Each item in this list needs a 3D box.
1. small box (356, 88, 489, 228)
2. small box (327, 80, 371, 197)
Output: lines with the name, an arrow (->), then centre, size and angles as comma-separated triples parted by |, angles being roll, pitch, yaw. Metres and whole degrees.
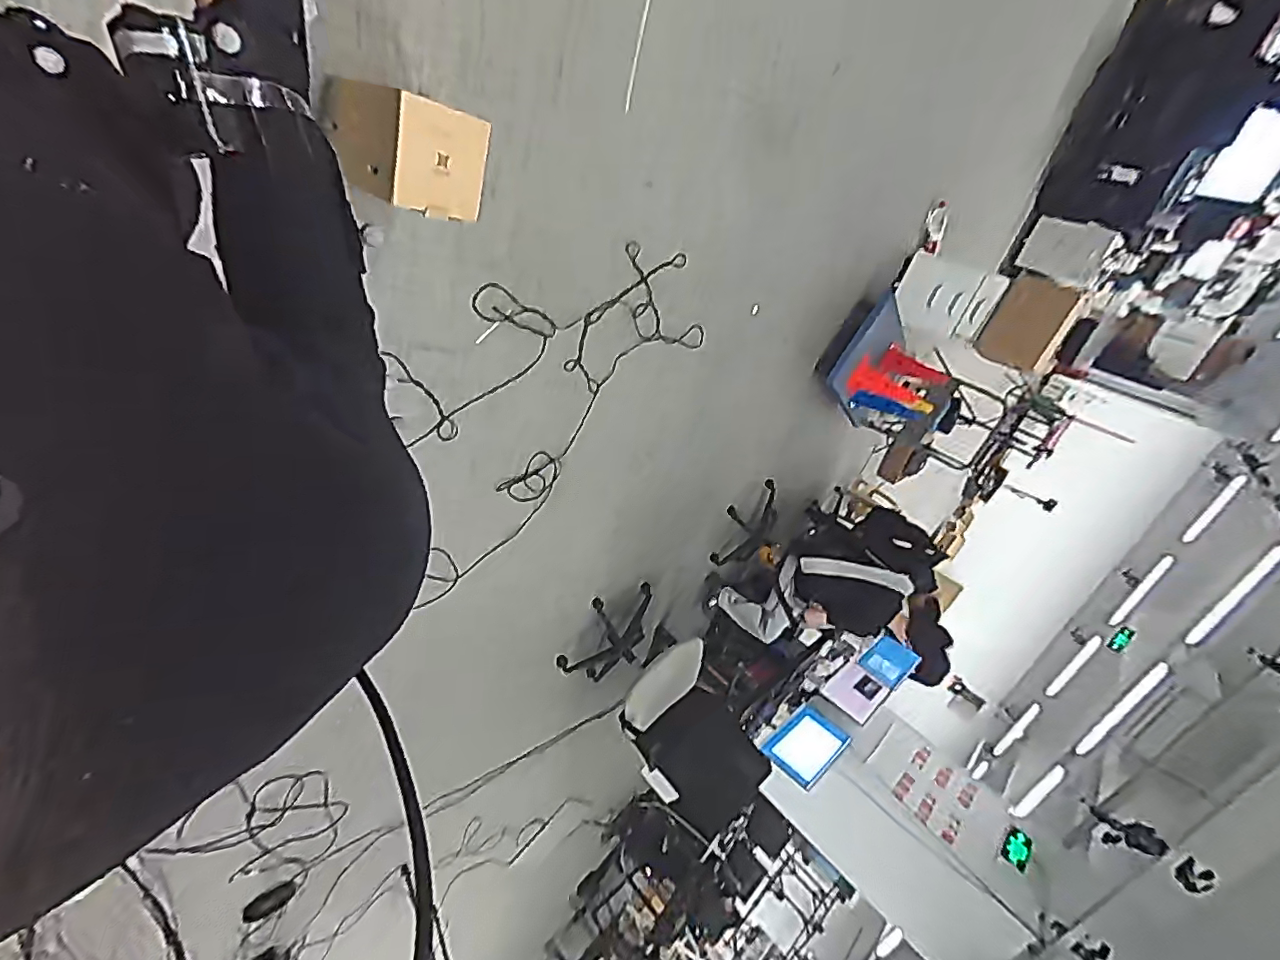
small box -> -0.405, -0.590, 0.998 | 0.168, 0.176, 0.179 | -12, 128, -46
small box -> -0.513, -0.670, 1.091 | 0.168, 0.176, 0.179 | -9, 127, -47
